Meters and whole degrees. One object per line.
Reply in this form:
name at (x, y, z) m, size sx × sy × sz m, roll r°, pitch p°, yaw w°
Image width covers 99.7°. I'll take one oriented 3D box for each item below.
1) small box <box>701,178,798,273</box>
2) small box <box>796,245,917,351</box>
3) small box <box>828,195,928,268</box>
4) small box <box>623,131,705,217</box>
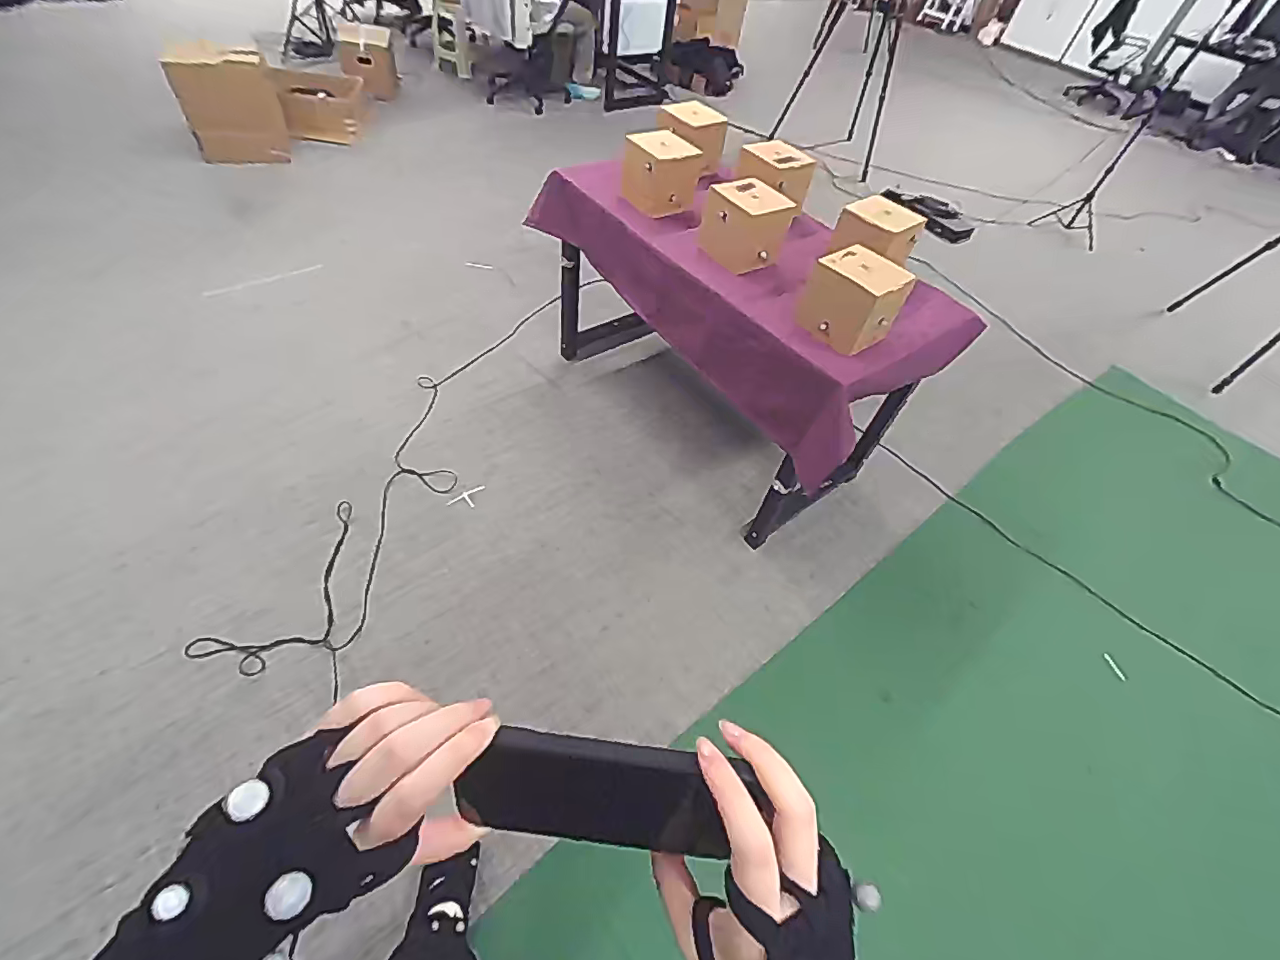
small box at (0.291, -0.697, 1.483) m, size 0.168 × 0.176 × 0.179 m, roll -25°, pitch 60°, yaw -26°
small box at (0.514, -0.431, 1.303) m, size 0.168 × 0.176 × 0.179 m, roll -29°, pitch 61°, yaw -29°
small box at (0.654, -0.665, 1.515) m, size 0.179 × 0.176 × 0.168 m, roll -31°, pitch 61°, yaw -29°
small box at (0.063, -0.923, 1.630) m, size 0.168 × 0.176 × 0.179 m, roll -27°, pitch 61°, yaw -27°
